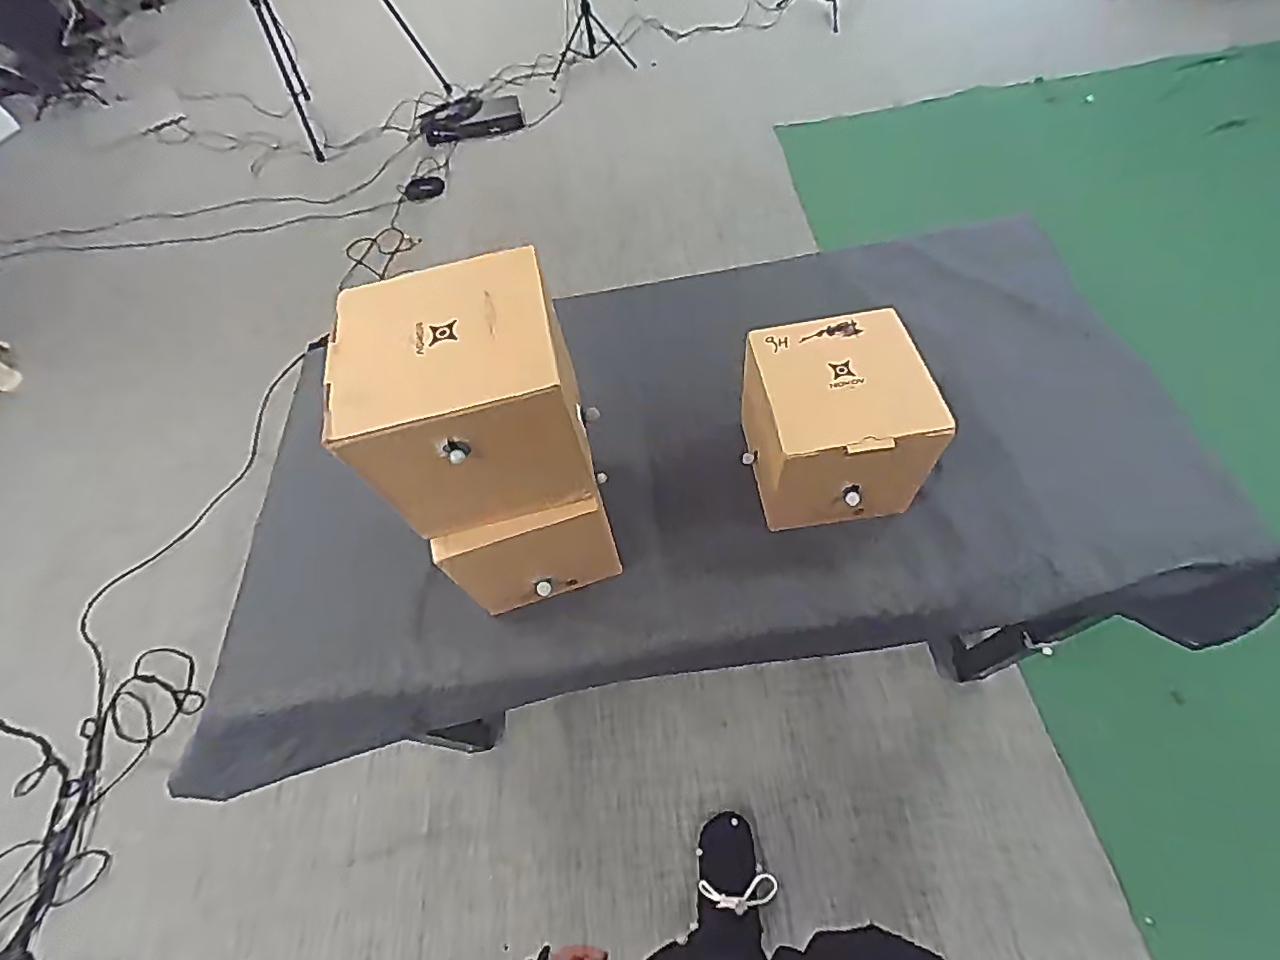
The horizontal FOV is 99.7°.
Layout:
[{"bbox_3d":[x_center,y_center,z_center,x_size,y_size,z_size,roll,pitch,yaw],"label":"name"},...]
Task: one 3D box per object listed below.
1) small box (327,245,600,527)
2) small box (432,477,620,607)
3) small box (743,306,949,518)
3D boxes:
[{"bbox_3d":[-0.146,-0.075,0.493,0.179,0.176,0.168,-14,60,-2],"label":"small box"},{"bbox_3d":[-0.130,0.021,0.623,0.168,0.176,0.179,-18,59,-3],"label":"small box"},{"bbox_3d":[0.219,-0.068,0.631,0.168,0.176,0.179,-9,59,3],"label":"small box"}]
